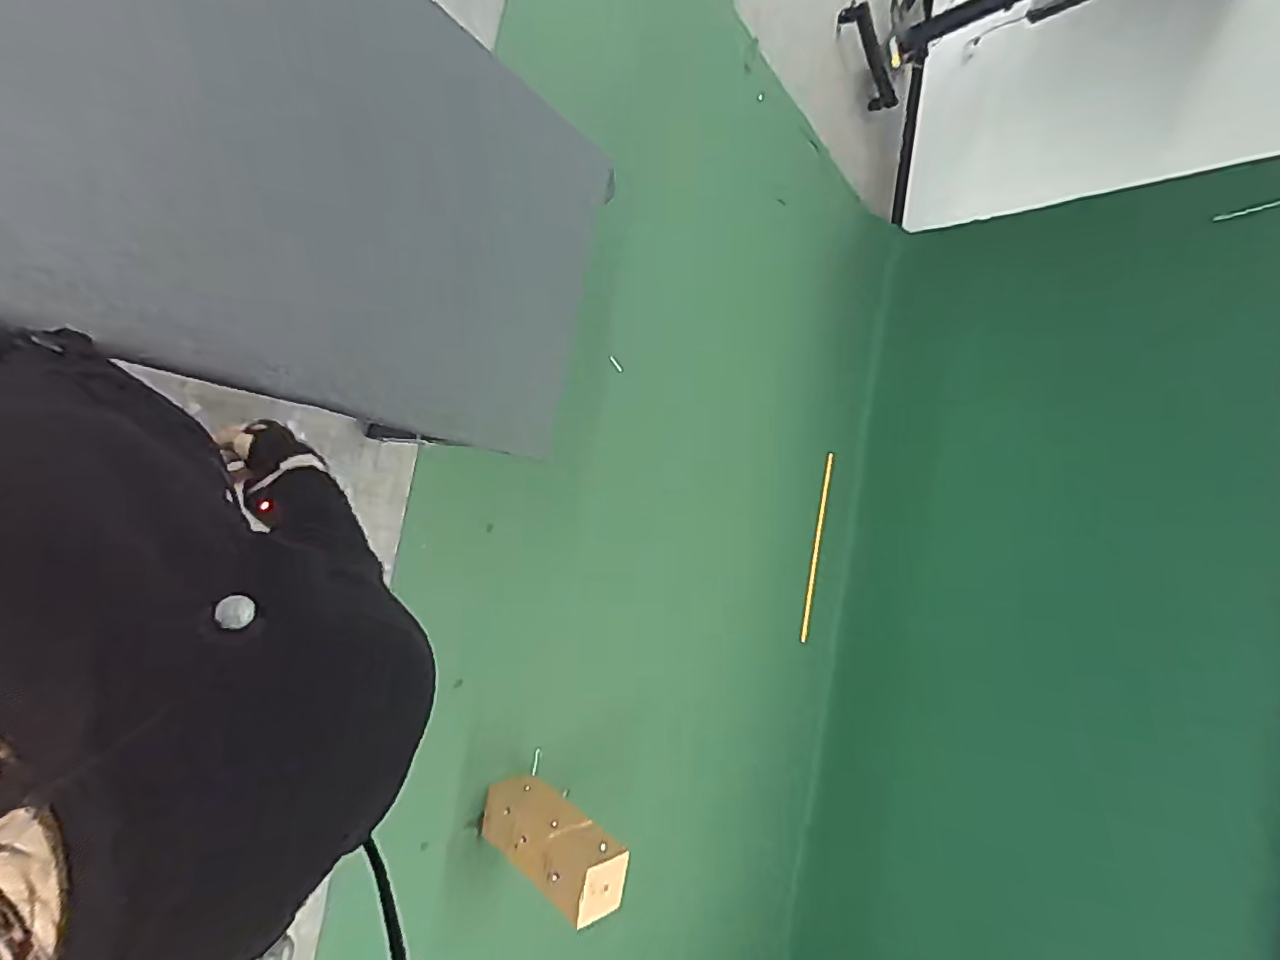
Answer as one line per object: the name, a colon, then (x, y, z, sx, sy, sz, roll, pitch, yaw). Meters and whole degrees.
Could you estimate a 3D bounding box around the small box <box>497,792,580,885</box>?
small box: (-0.322, 1.125, 1.716, 0.179, 0.176, 0.168, 15, 85, -47)

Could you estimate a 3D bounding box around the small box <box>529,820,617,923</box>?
small box: (-0.200, 1.148, 1.606, 0.179, 0.176, 0.168, 17, 83, -46)
